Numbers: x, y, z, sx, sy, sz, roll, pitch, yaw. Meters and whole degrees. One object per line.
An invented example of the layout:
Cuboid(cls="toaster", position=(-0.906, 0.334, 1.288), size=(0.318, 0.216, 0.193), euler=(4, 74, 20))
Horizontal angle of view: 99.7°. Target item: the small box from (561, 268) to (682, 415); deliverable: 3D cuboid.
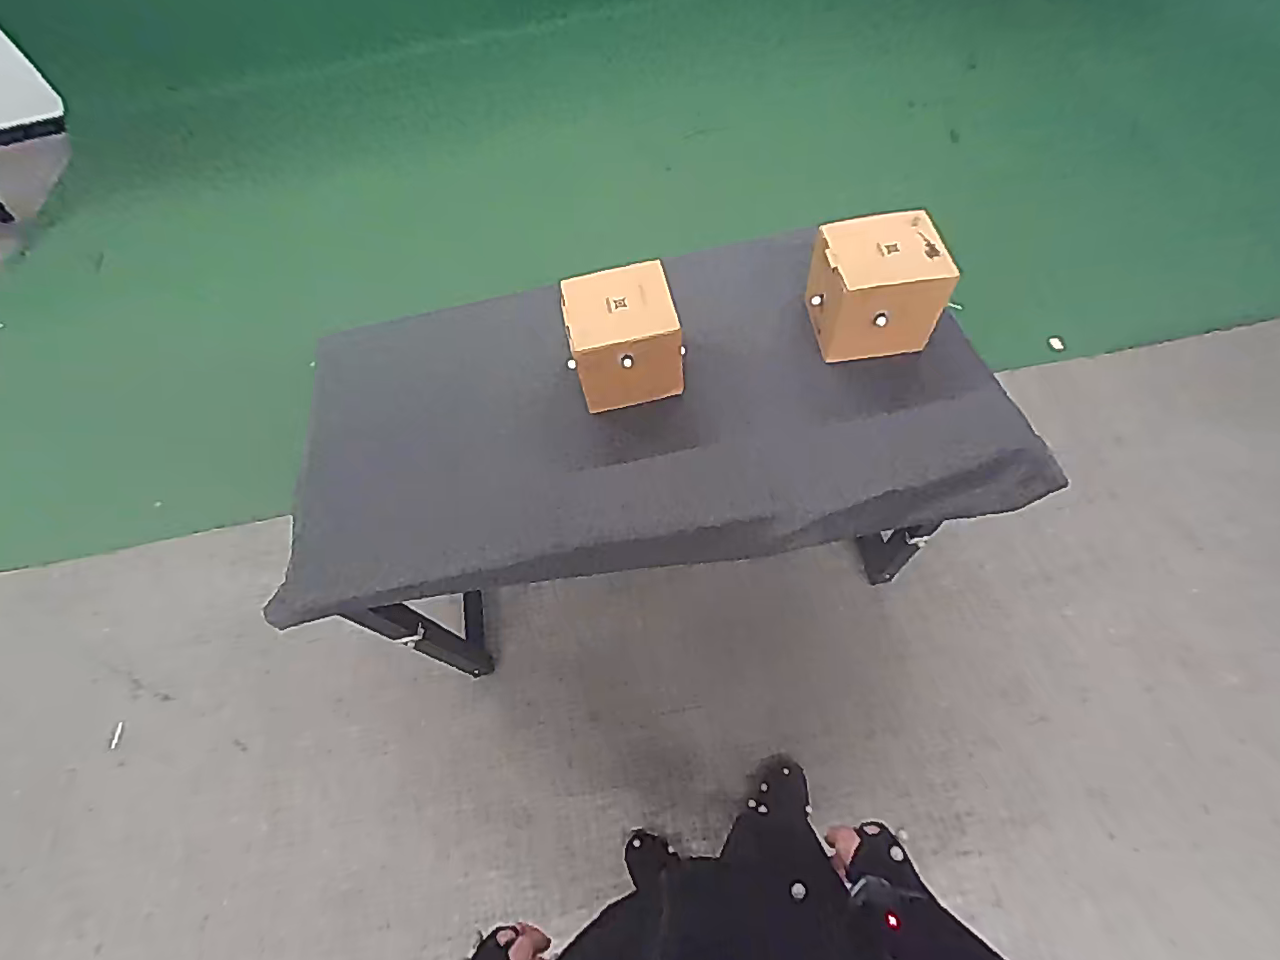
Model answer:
Cuboid(cls="small box", position=(-0.028, -0.235, 0.948), size=(0.179, 0.176, 0.168), euler=(-12, 61, -2))

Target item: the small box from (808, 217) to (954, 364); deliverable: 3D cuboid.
Cuboid(cls="small box", position=(0.400, -0.320, 0.940), size=(0.179, 0.176, 0.168), euler=(-8, 61, 3))
